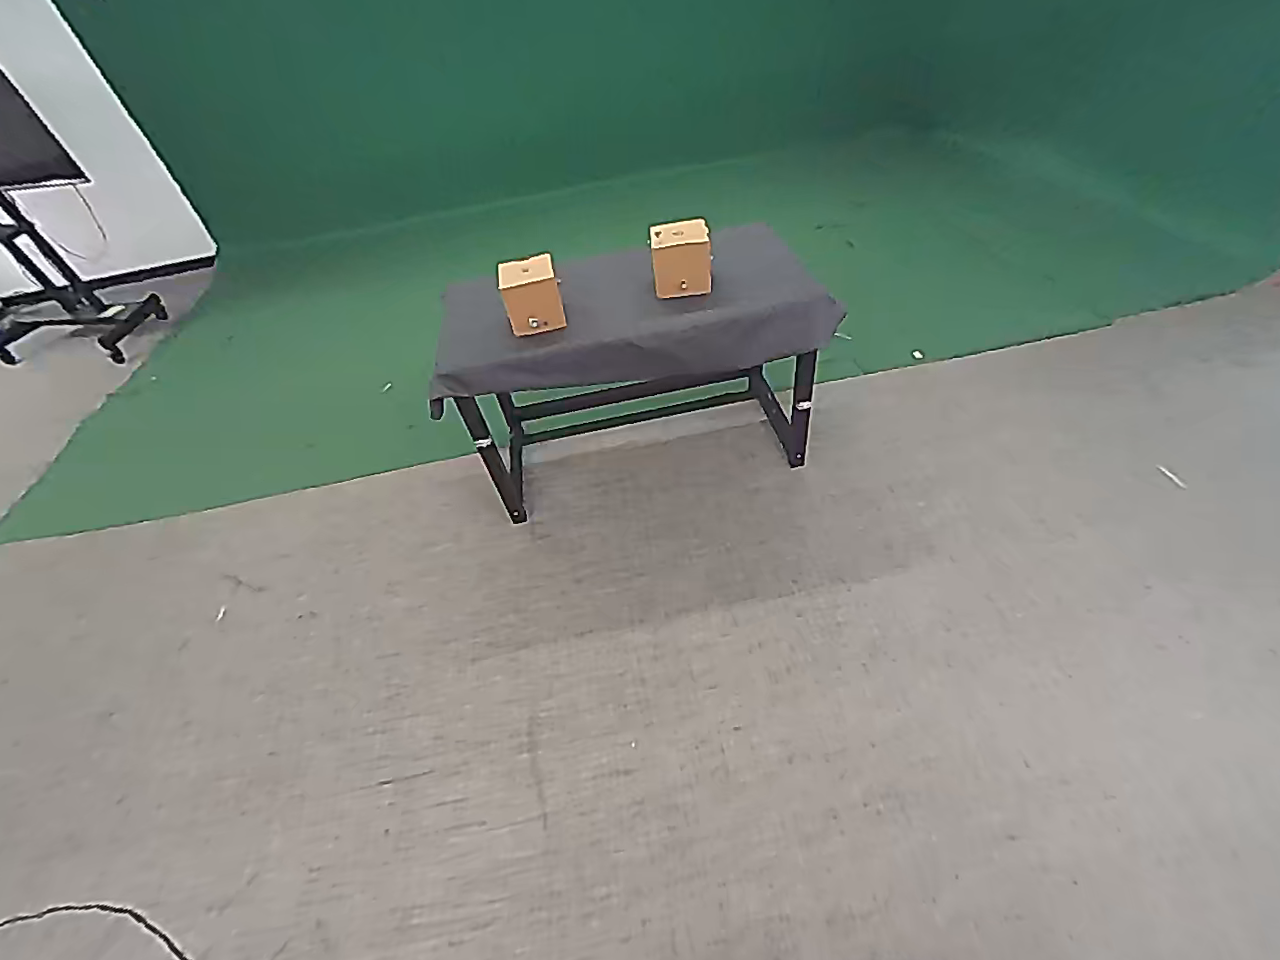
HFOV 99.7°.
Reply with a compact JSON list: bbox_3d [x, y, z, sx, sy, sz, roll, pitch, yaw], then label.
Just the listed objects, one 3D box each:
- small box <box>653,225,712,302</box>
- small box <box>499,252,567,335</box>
[{"bbox_3d":[0.136,-0.692,1.731,0.179,0.176,0.168,-5,46,5],"label":"small box"},{"bbox_3d":[-0.331,-0.578,1.680,0.168,0.176,0.179,-13,46,0],"label":"small box"}]
